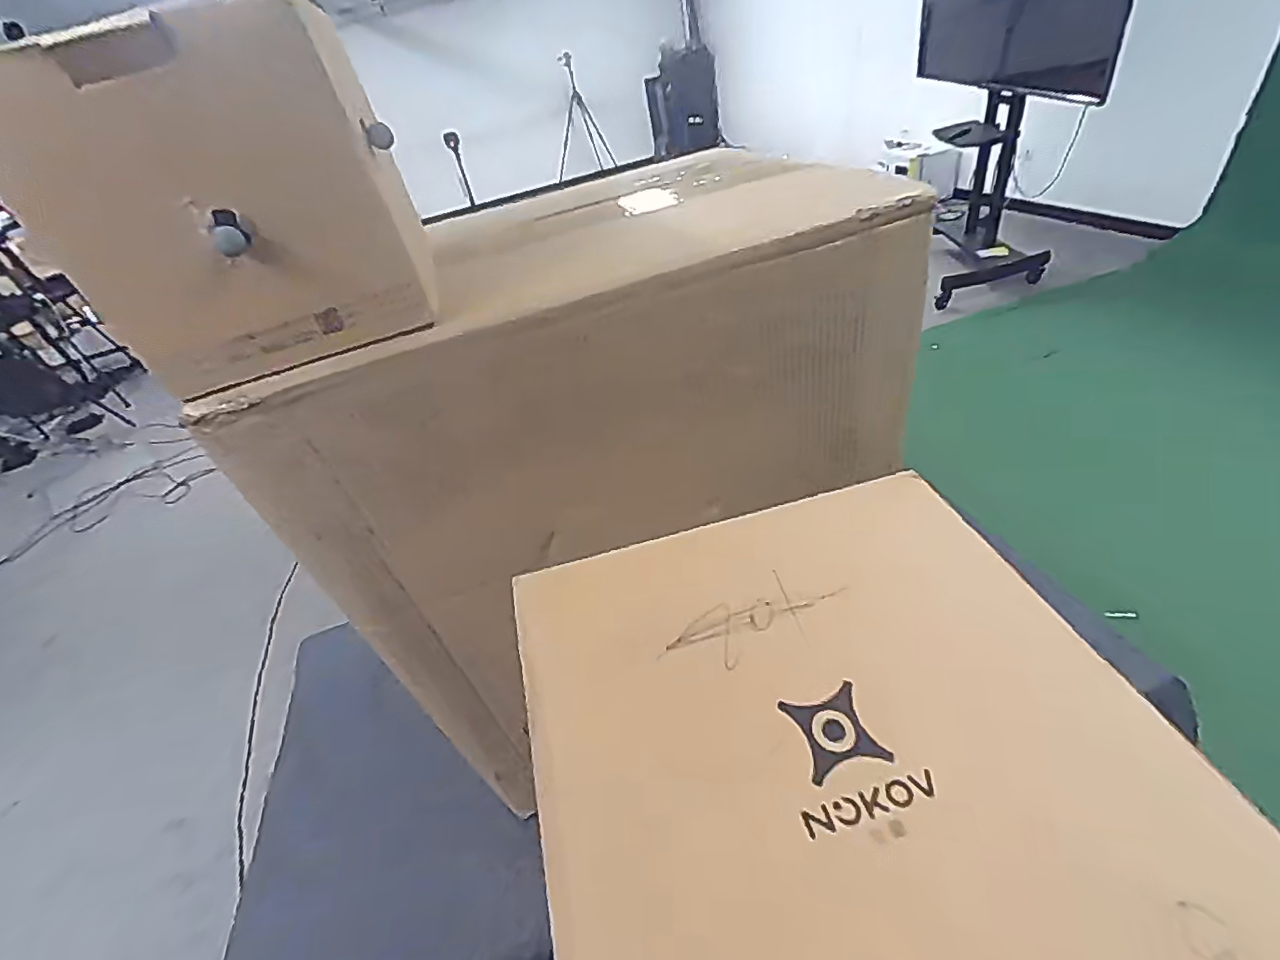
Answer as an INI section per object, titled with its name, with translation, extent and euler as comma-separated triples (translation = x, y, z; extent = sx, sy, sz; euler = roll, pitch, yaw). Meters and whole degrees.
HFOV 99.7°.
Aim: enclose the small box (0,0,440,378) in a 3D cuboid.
[small box]
translation = -0.244, -0.185, 0.356
extent = 0.168, 0.176, 0.179
euler = -19, 41, -7
